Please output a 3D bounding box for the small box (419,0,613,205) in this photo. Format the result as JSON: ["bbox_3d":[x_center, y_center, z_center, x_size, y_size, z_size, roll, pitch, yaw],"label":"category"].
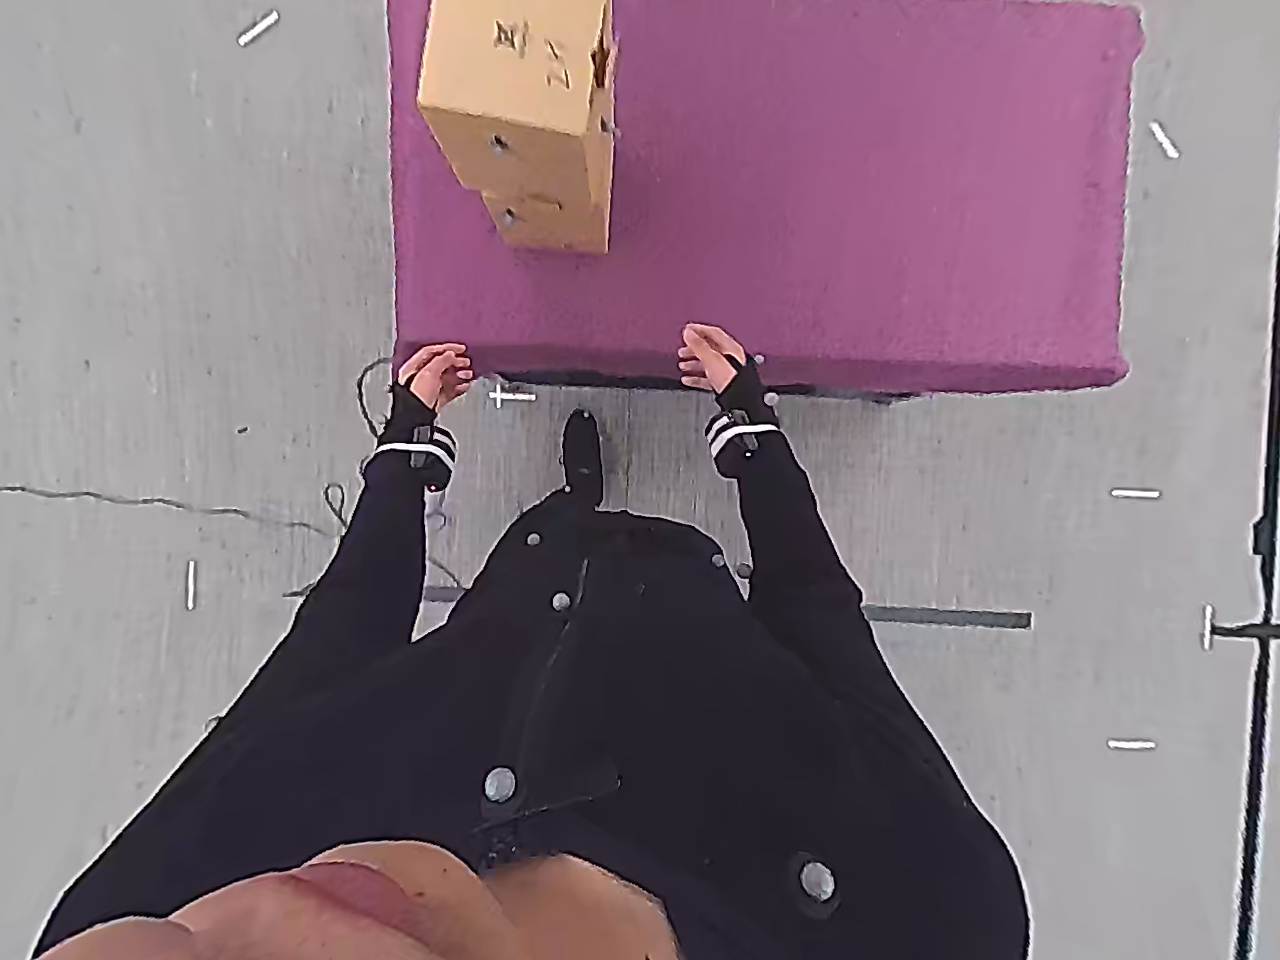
[{"bbox_3d":[-0.131,-0.450,0.632,0.179,0.176,0.168,10,92,-3],"label":"small box"}]
